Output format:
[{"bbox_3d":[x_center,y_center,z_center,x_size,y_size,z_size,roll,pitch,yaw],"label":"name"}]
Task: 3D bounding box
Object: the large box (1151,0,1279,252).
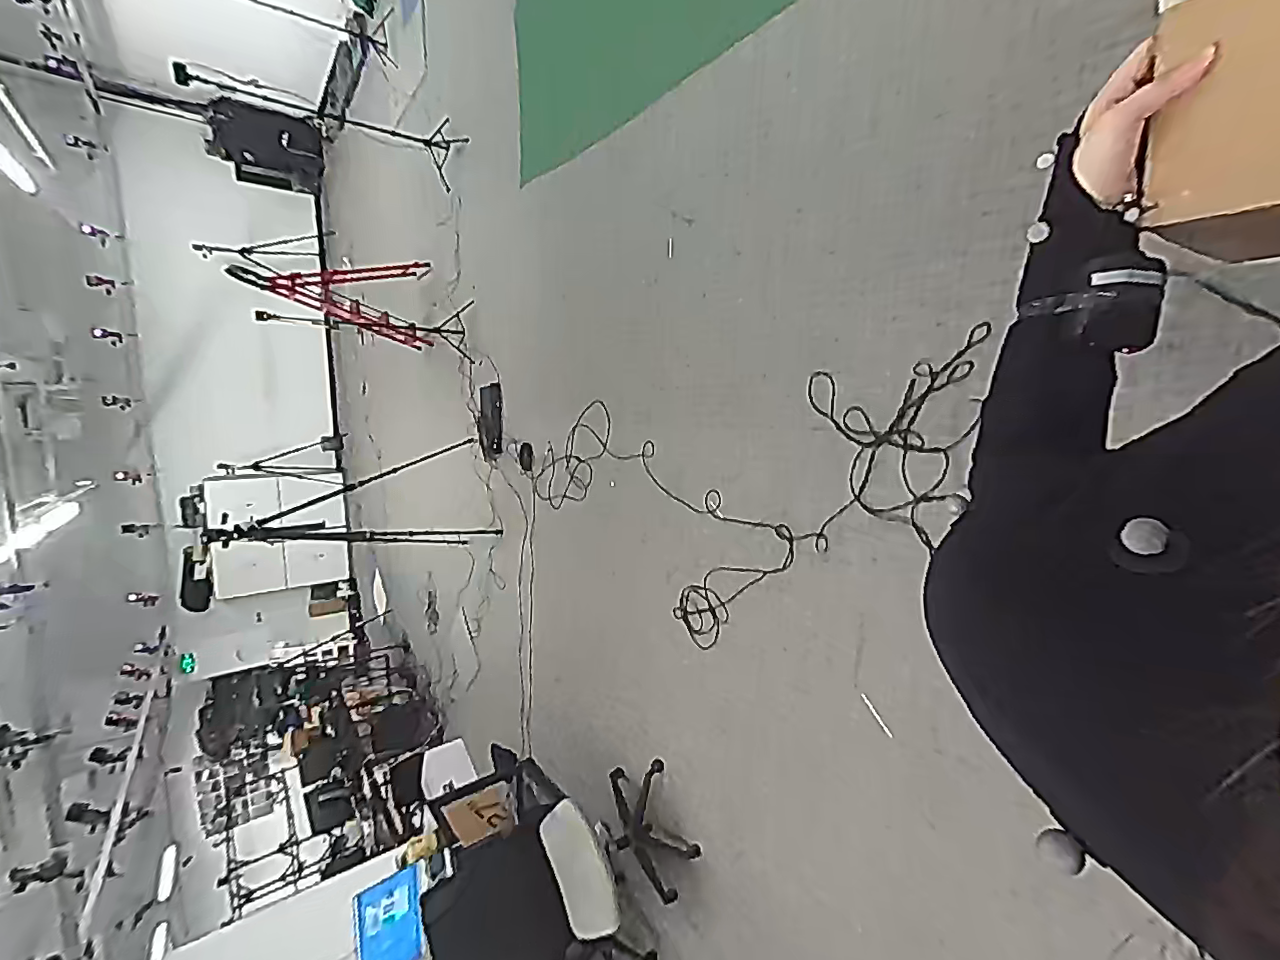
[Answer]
[{"bbox_3d":[0.625,-0.349,0.314,0.408,0.320,0.320,11,107,56],"label":"large box"}]
